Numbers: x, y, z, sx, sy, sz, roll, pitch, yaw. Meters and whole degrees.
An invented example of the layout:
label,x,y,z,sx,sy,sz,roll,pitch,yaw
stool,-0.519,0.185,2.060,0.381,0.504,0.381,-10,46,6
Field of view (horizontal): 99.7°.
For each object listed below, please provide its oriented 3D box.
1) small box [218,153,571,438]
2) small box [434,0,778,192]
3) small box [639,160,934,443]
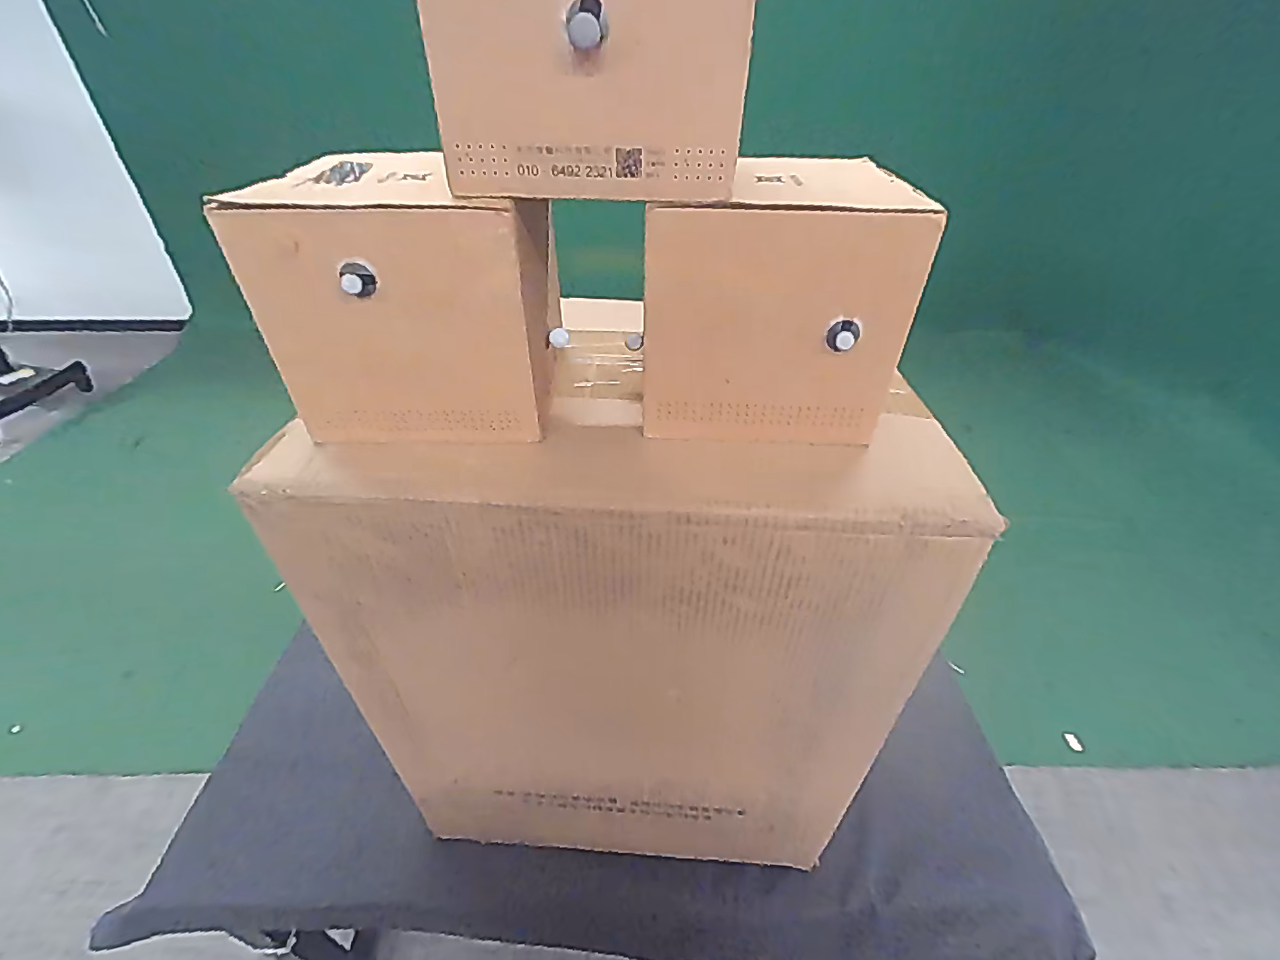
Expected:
label,x,y,z,sx,sy,sz,roll,pitch,yaw
small box,-0.160,-0.146,0.428,0.179,0.176,0.168,3,42,4
small box,-0.025,-0.291,0.339,0.179,0.176,0.168,-20,43,-22
small box,0.091,-0.141,0.429,0.179,0.176,0.168,2,39,3
